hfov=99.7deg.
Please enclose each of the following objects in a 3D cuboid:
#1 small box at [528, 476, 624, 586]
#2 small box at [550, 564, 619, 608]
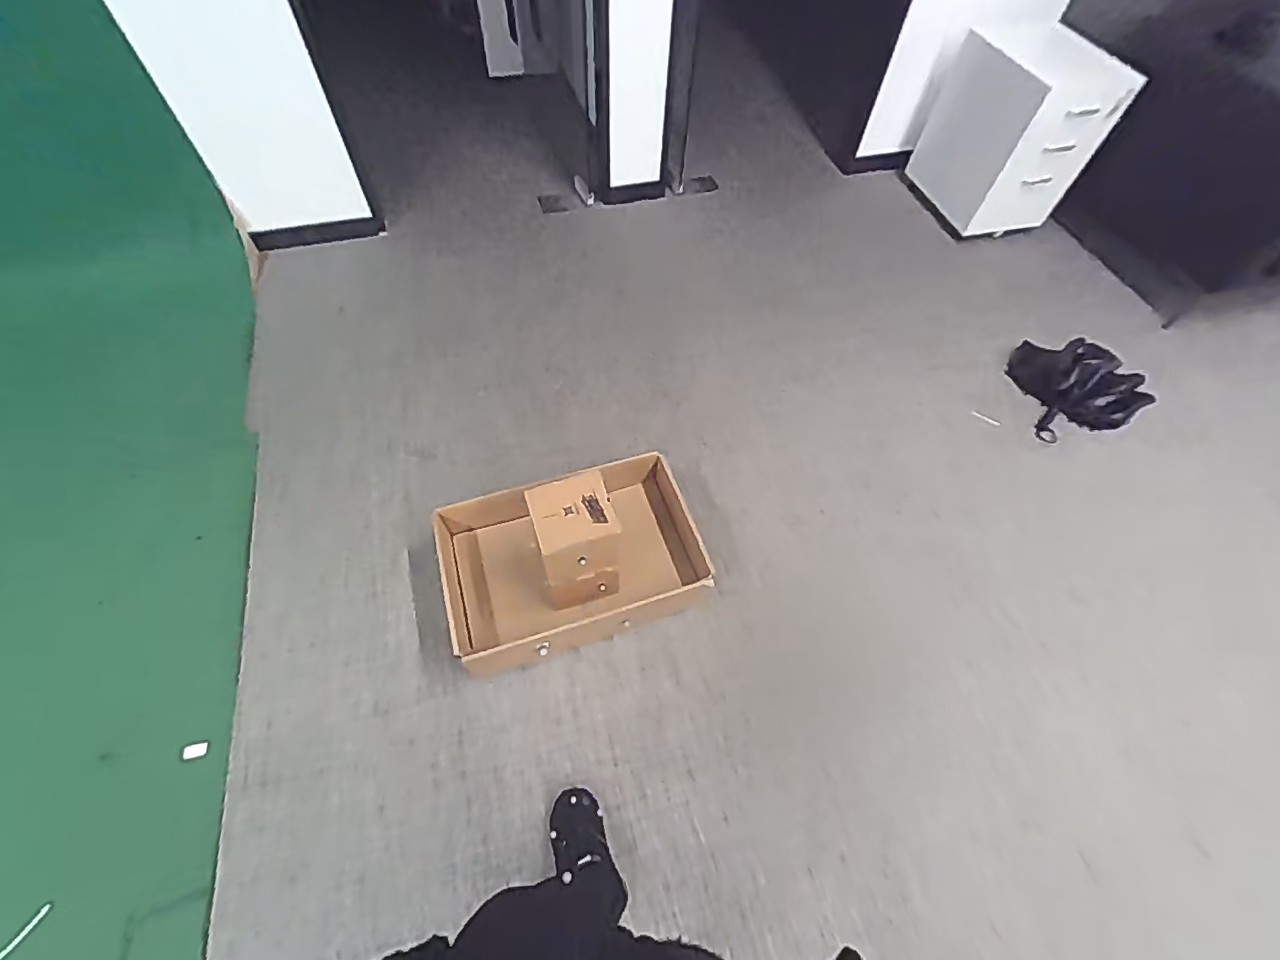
[{"bbox_3d":[-0.144,0.119,1.224,0.179,0.176,0.168,-15,59,-11],"label":"small box"},{"bbox_3d":[-0.151,0.208,1.362,0.168,0.176,0.179,-13,57,-11],"label":"small box"}]
